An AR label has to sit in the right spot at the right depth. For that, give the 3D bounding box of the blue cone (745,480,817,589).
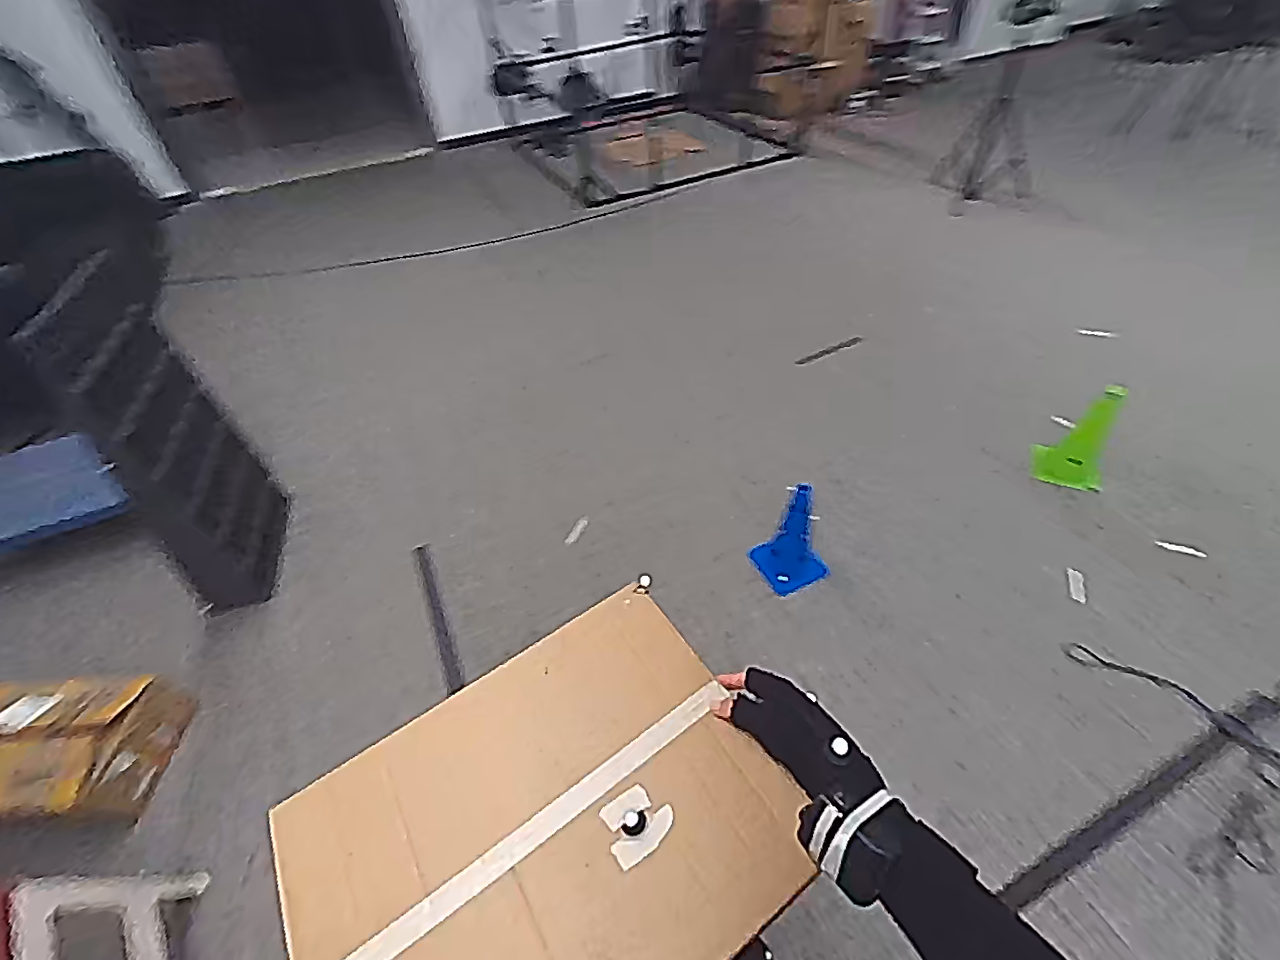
[{"bbox_3d":[0.453,0.150,1.668,0.193,0.380,0.192,-20,46,-14],"label":"blue cone"}]

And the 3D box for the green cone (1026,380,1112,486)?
[{"bbox_3d":[1.517,-0.185,1.861,0.202,0.368,0.200,15,49,21],"label":"green cone"}]
